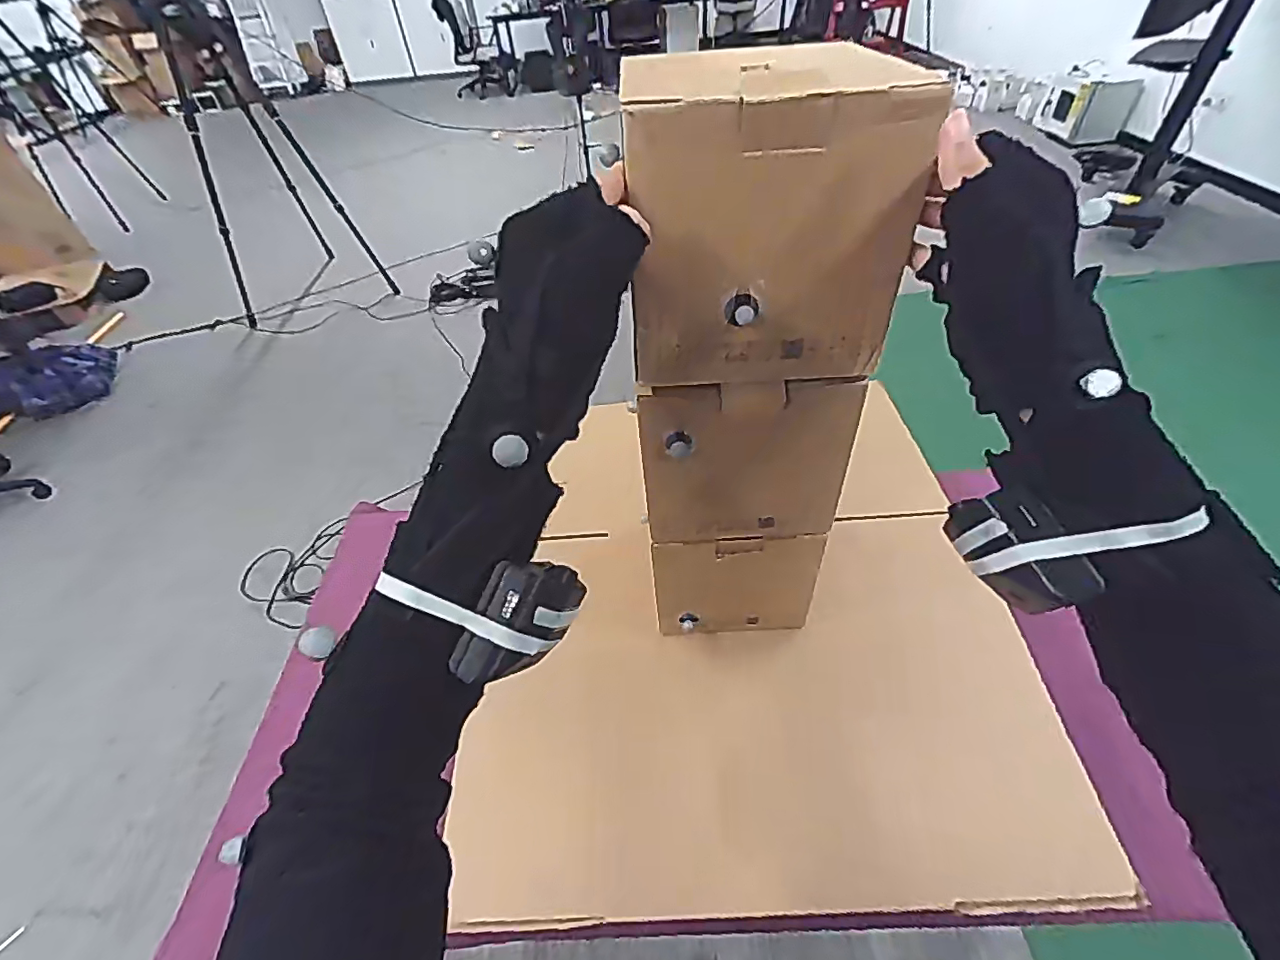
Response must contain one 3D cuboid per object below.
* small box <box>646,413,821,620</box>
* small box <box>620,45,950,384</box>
[{"bbox_3d":[0.095,0.048,0.615,0.168,0.176,0.179,-3,45,3],"label":"small box"},{"bbox_3d":[0.073,-0.186,0.381,0.168,0.176,0.179,-3,45,1],"label":"small box"}]
